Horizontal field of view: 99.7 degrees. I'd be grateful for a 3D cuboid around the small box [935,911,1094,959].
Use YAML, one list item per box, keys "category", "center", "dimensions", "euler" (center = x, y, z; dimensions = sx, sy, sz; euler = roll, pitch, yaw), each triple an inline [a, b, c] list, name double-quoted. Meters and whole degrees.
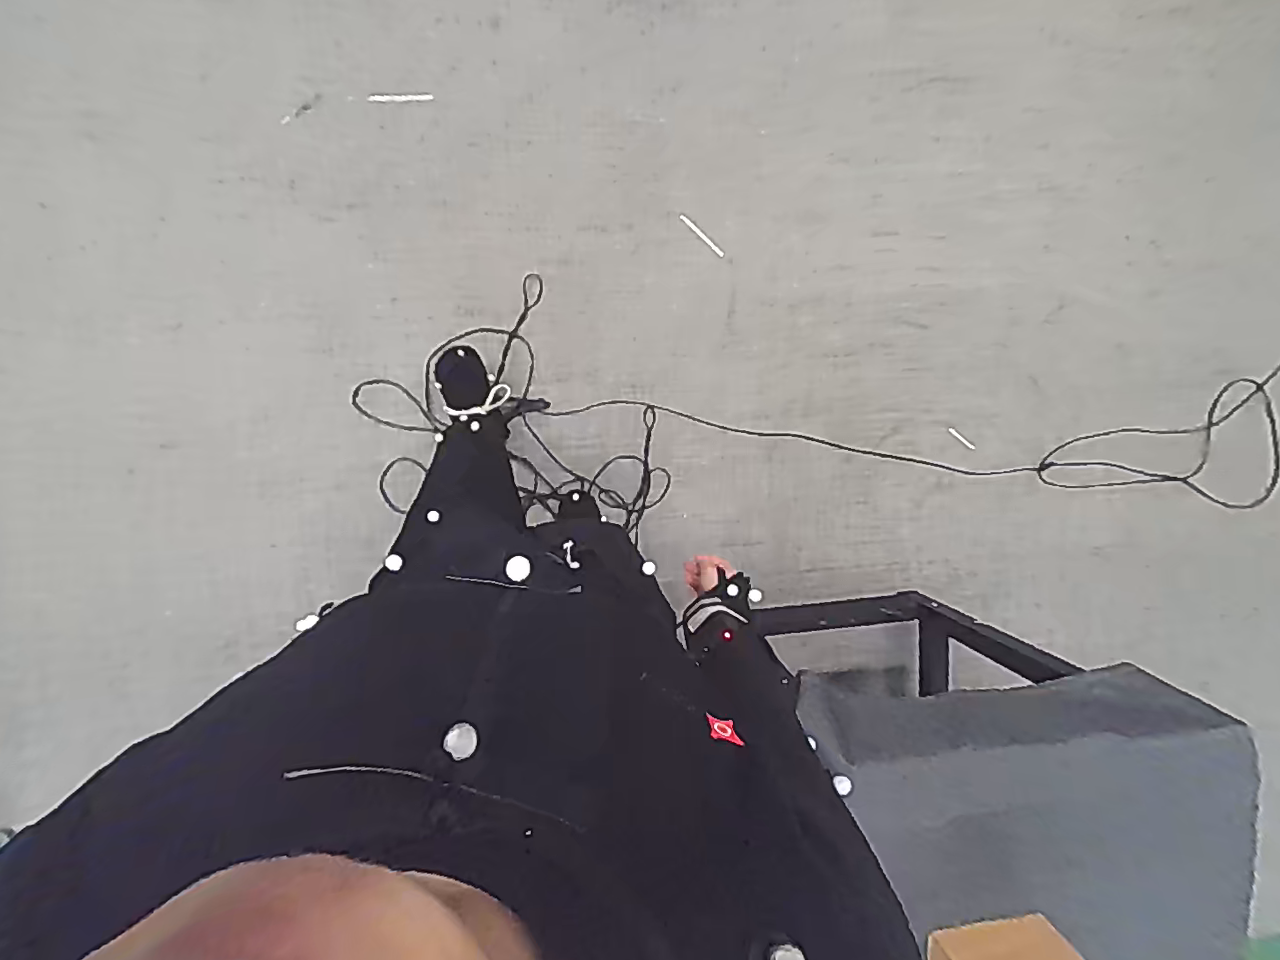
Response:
- category: "small box"
  center: [0.510, 0.699, 0.689]
  dimensions: [0.179, 0.176, 0.168]
  euler: [-5, 96, -6]
